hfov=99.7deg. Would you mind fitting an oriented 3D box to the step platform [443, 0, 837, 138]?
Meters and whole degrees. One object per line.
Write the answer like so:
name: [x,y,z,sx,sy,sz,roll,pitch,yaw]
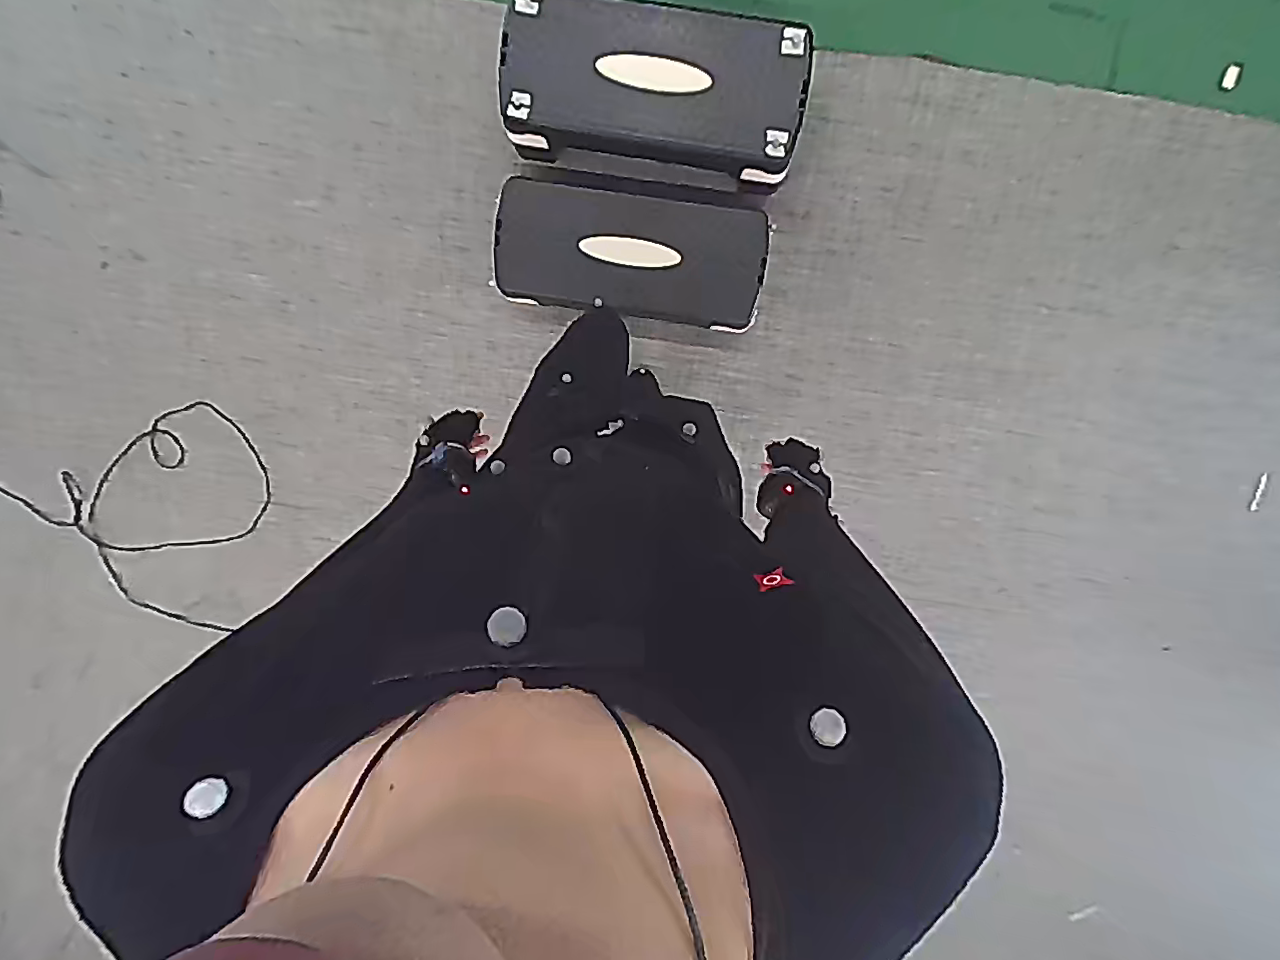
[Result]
step platform: [0.002,-0.865,1.017,0.684,0.204,0.286,8,102,0]
